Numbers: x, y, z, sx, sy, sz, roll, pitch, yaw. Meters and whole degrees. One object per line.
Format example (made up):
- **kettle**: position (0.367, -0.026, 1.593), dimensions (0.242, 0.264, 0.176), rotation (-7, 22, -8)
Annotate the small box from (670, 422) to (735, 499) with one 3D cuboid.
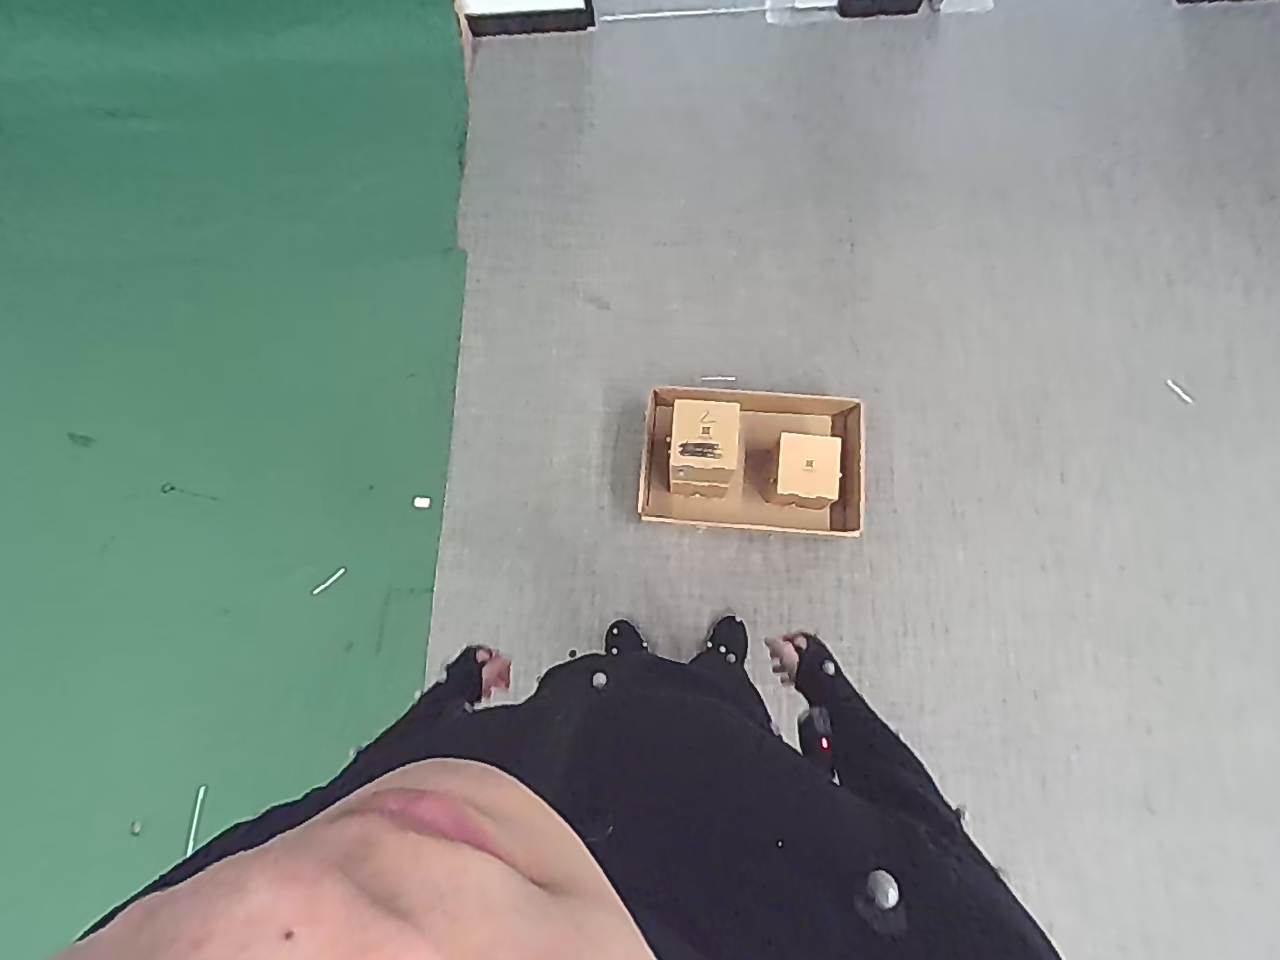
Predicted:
- **small box**: position (0.177, -0.052, 1.569), dimensions (0.168, 0.176, 0.179), rotation (5, 77, 4)
